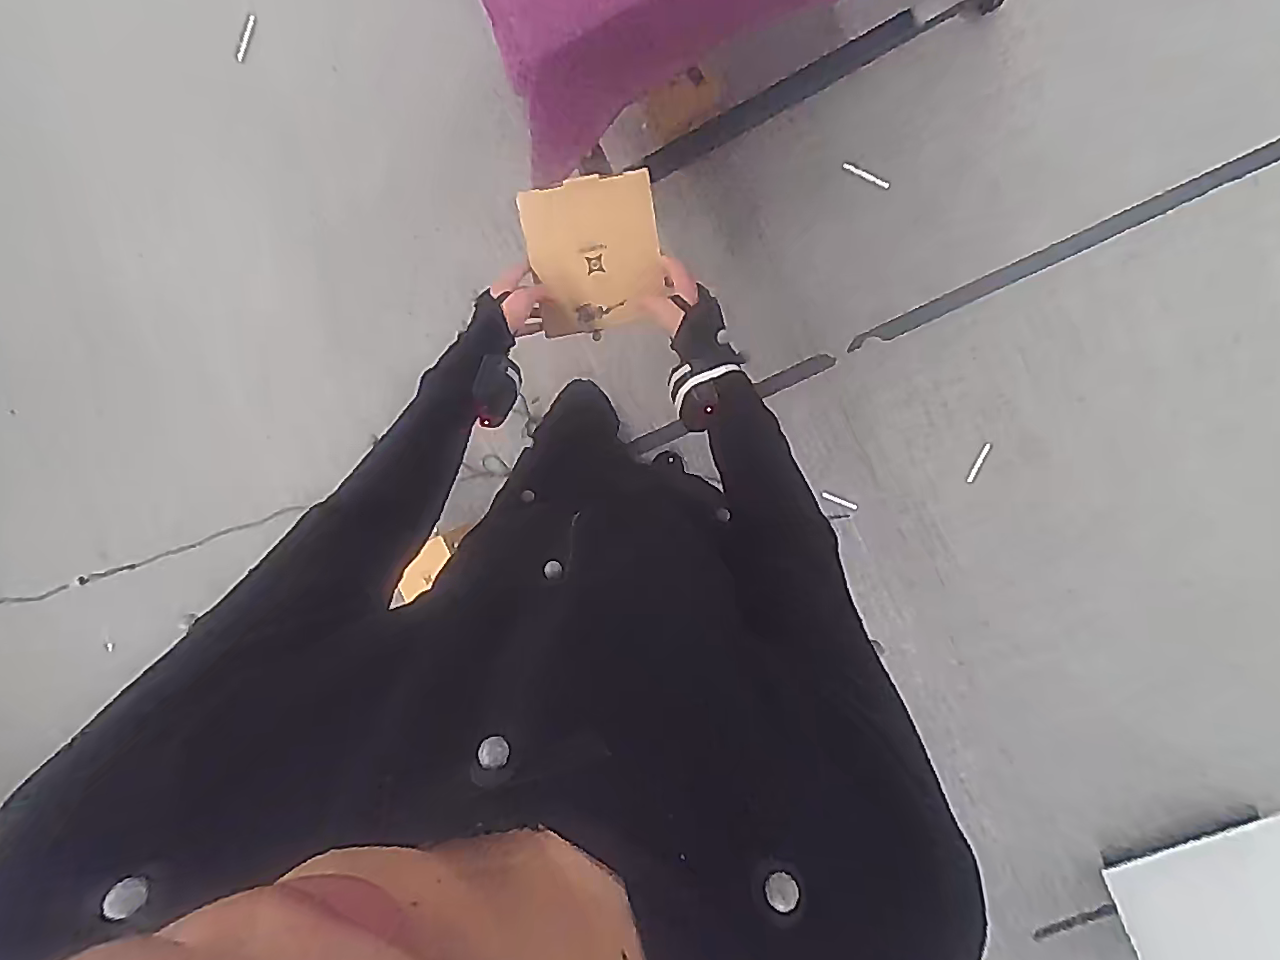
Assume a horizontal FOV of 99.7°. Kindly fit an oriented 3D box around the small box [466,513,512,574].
[{"bbox_3d":[-0.510,0.213,1.606,0.179,0.176,0.168,-24,94,7],"label":"small box"}]

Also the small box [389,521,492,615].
[{"bbox_3d":[-0.524,0.229,1.445,0.168,0.176,0.179,-23,93,7],"label":"small box"}]

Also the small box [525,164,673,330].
[{"bbox_3d":[-0.048,-0.309,0.749,0.168,0.176,0.179,-8,107,4],"label":"small box"}]
